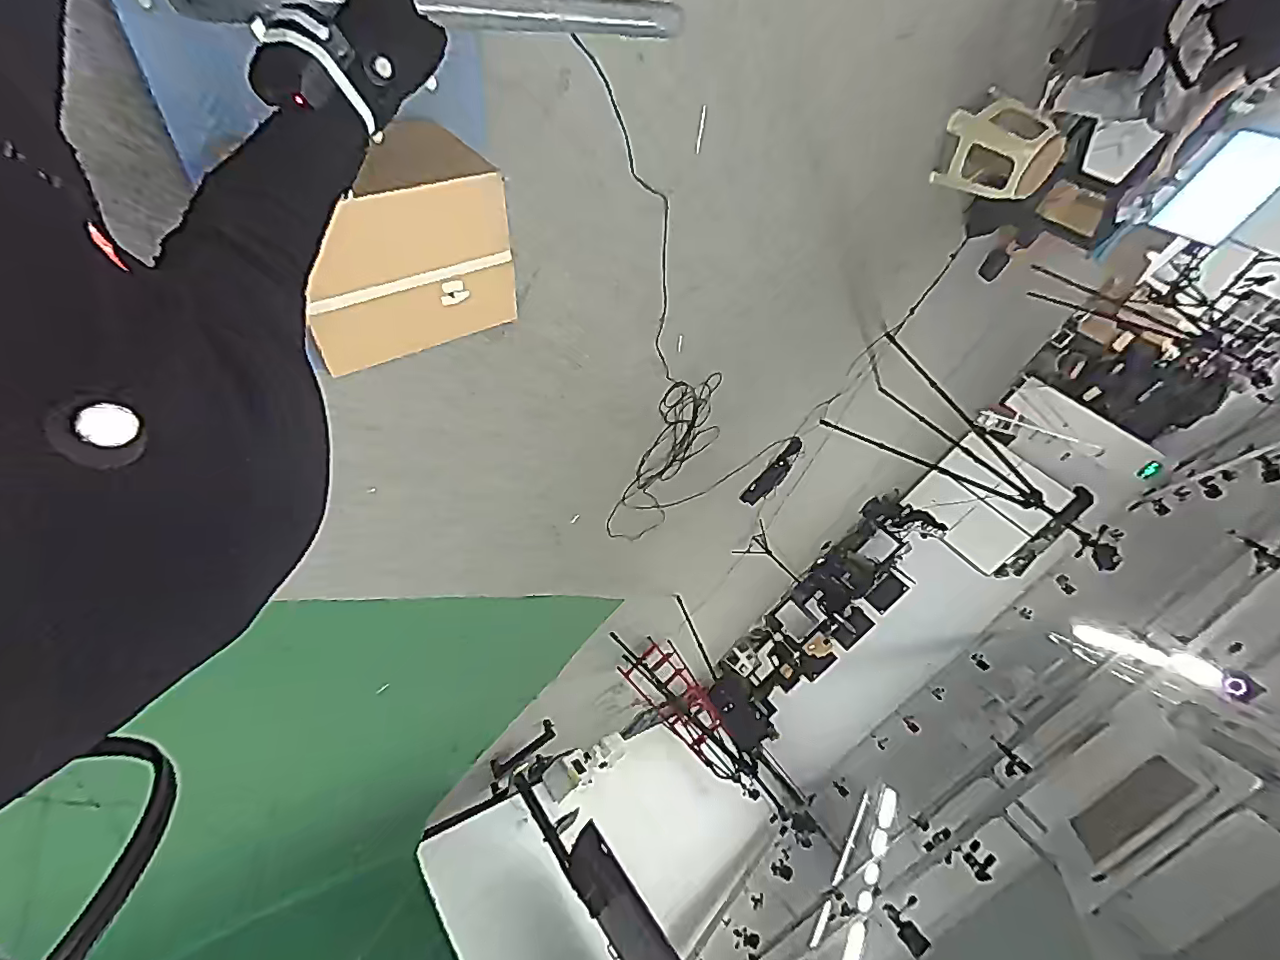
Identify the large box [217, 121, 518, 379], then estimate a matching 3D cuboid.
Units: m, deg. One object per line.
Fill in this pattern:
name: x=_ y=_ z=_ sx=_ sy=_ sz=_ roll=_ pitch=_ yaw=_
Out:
large box: x=-0.512 y=-0.471 z=1.079 sx=0.408 sy=0.320 sz=0.320 roll=-30 pitch=149 yaw=-26
